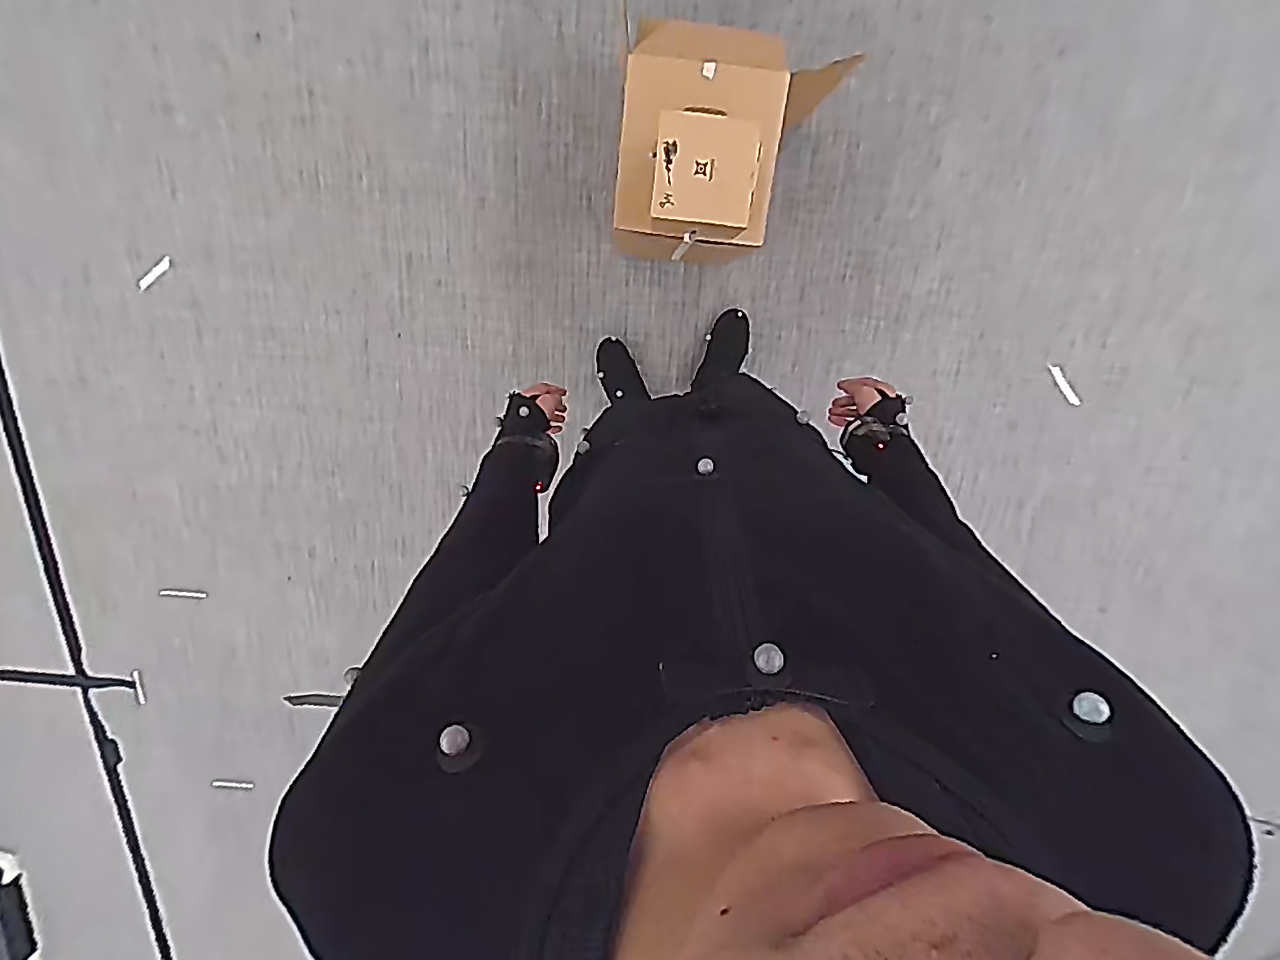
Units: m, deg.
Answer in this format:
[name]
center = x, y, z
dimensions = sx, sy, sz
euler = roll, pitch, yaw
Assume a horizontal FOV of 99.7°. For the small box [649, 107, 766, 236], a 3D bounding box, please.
[small box]
center = 0.113, -0.551, 0.989
dimensions = 0.179, 0.176, 0.168
euler = 6, 108, -2
